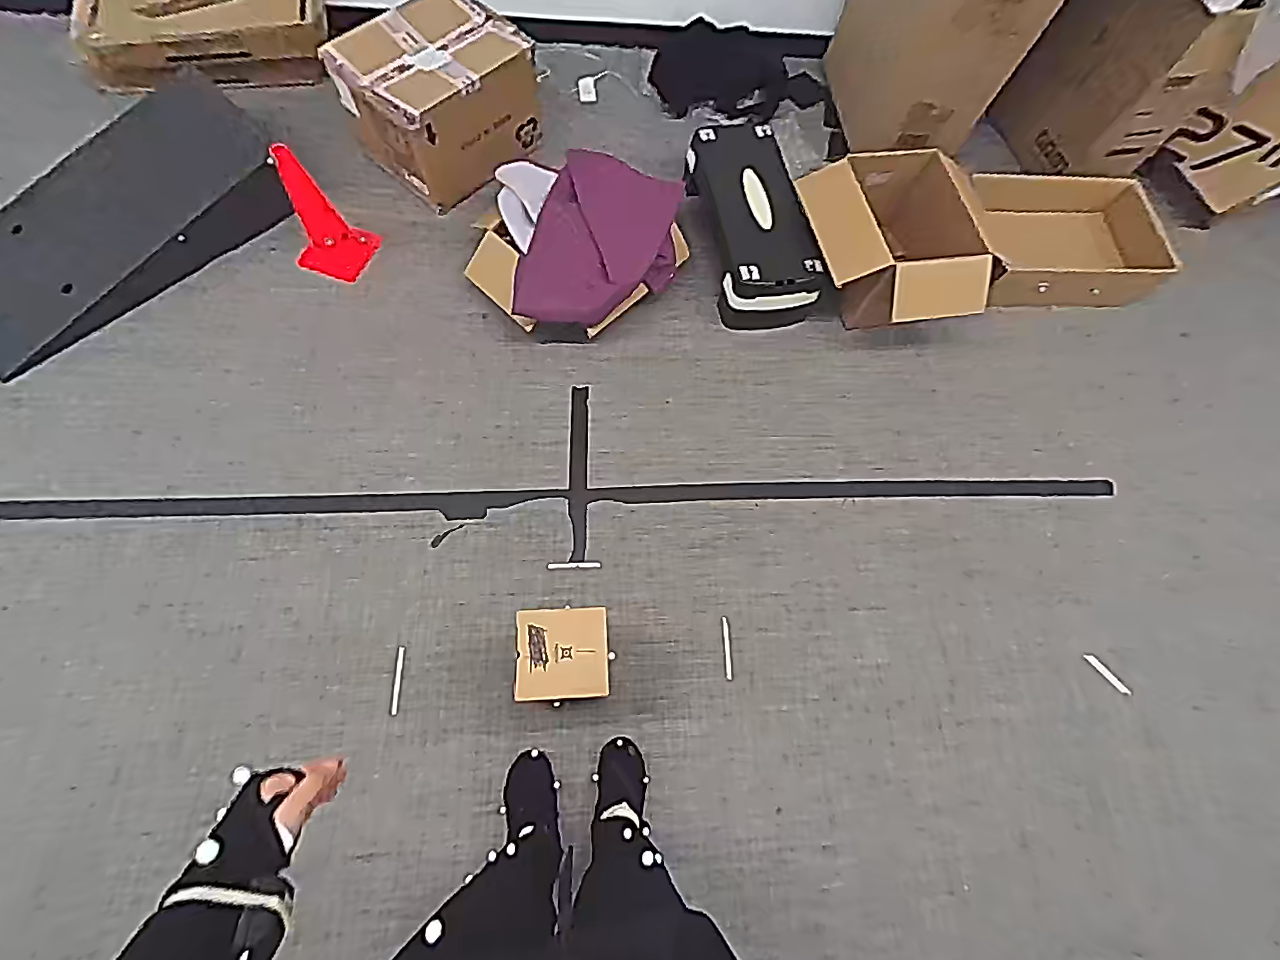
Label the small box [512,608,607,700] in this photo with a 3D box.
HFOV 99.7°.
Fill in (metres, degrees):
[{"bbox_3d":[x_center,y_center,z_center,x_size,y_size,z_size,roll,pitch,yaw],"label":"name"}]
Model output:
[{"bbox_3d":[-0.156,0.355,1.095,0.179,0.176,0.168,-1,70,-5],"label":"small box"}]
